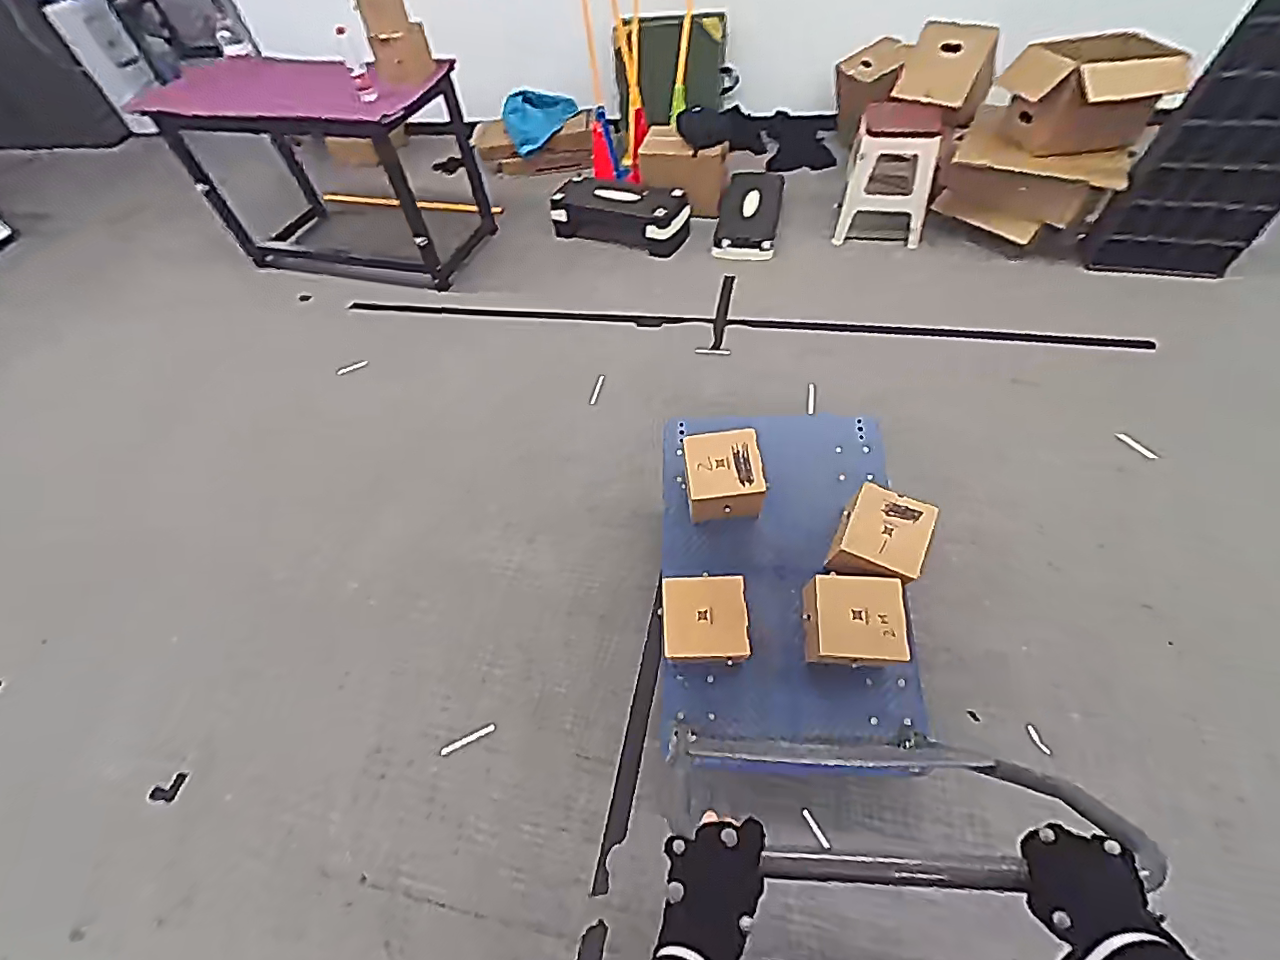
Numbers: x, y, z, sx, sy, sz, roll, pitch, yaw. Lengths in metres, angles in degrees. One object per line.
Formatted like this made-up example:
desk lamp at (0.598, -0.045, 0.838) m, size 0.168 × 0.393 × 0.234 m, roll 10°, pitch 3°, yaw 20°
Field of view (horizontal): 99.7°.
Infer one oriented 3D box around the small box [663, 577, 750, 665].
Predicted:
small box at (0.144, 0.318, 1.205) m, size 0.179 × 0.176 × 0.168 m, roll -2°, pitch 66°, yaw 4°

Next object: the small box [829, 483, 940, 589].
small box at (0.549, 0.138, 1.237) m, size 0.168 × 0.176 × 0.179 m, roll 23°, pitch 72°, yaw 15°

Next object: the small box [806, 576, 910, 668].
small box at (0.459, 0.312, 1.172) m, size 0.179 × 0.176 × 0.168 m, roll 2°, pitch 68°, yaw 7°
